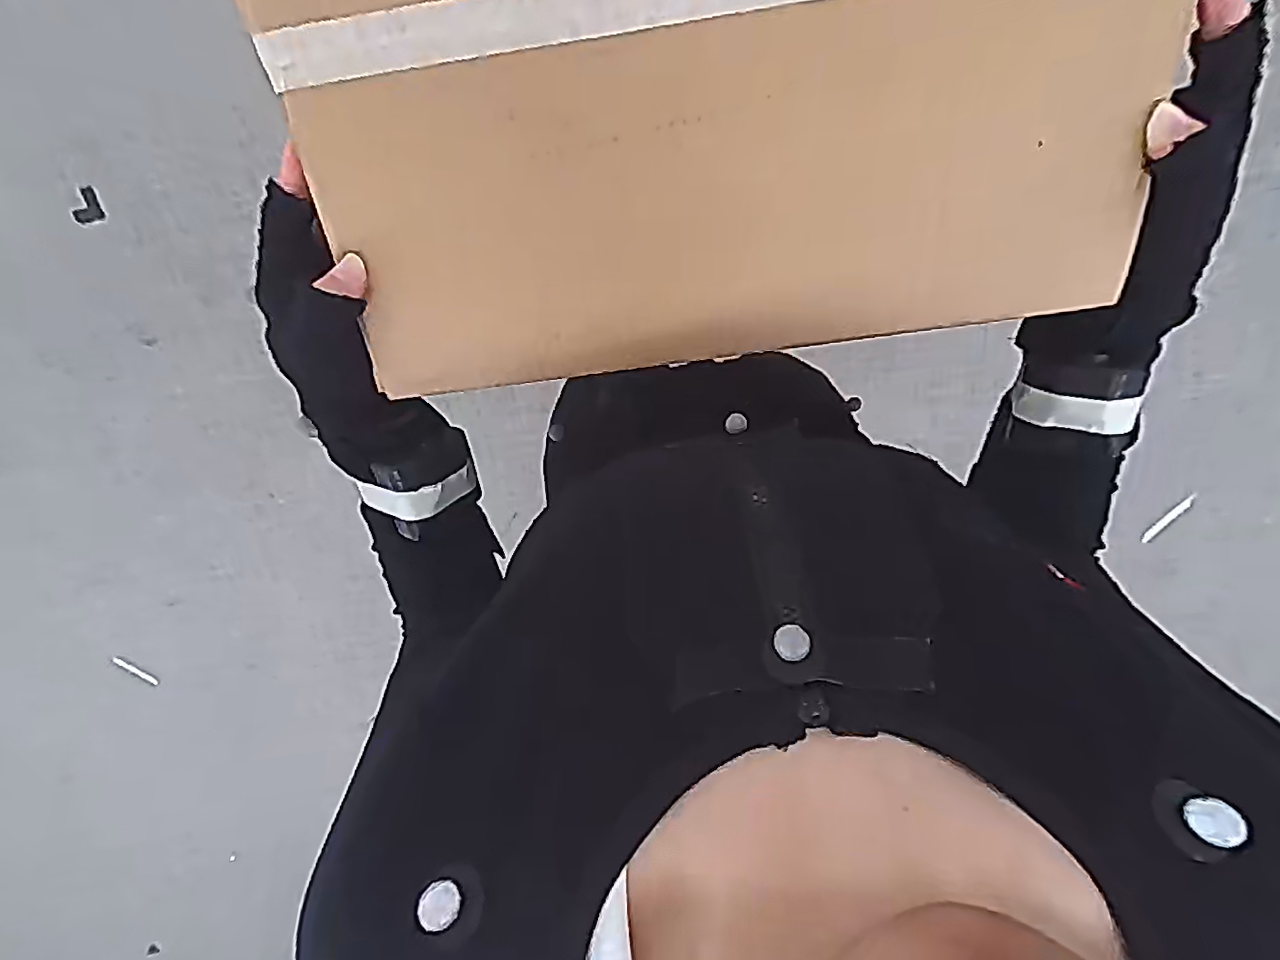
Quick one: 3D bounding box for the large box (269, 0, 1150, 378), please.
[{"bbox_3d":[0.028,-0.286,0.378,0.408,0.320,0.320,-7,116,3],"label":"large box"}]
